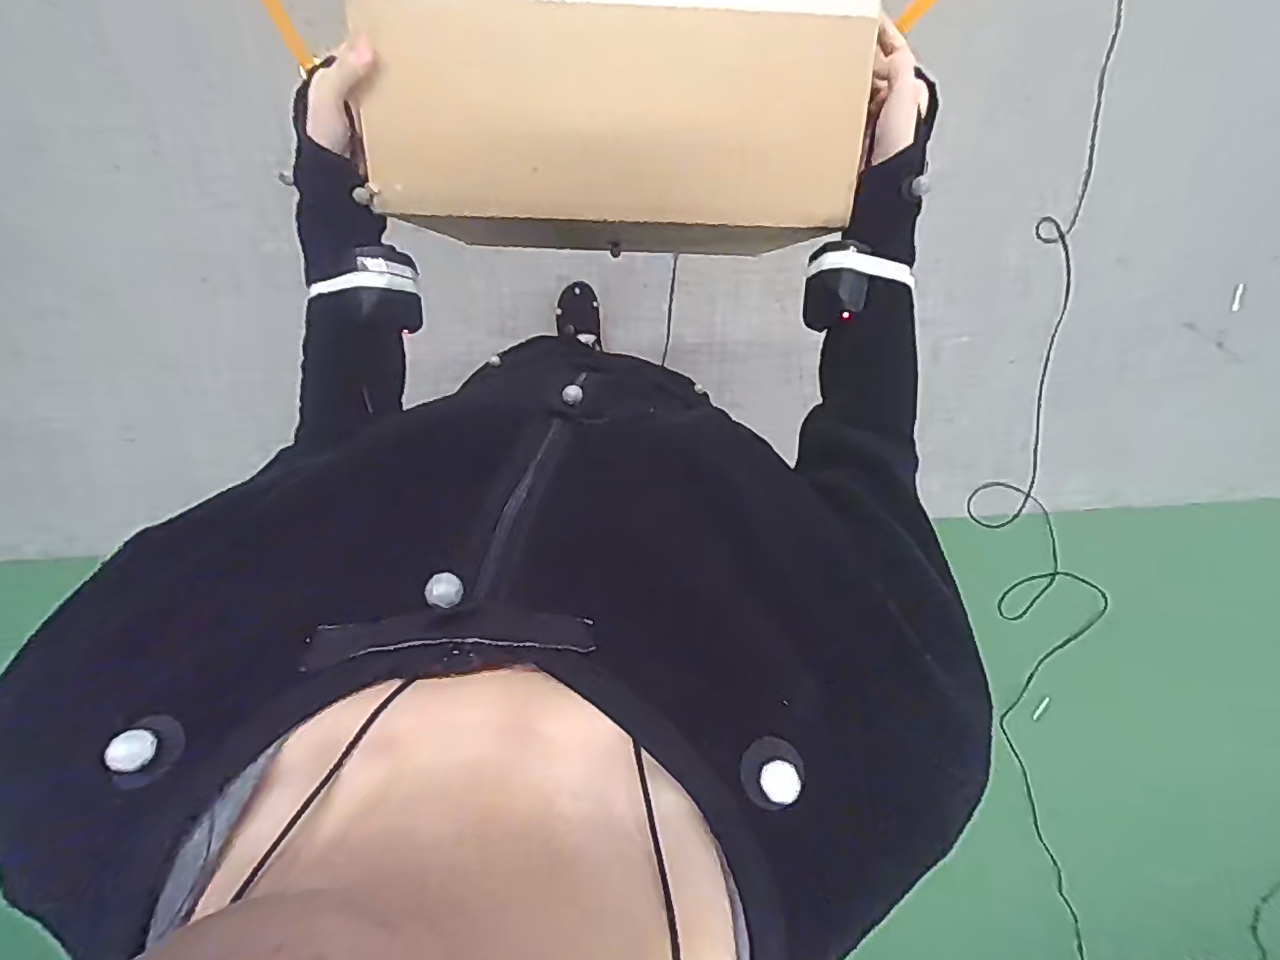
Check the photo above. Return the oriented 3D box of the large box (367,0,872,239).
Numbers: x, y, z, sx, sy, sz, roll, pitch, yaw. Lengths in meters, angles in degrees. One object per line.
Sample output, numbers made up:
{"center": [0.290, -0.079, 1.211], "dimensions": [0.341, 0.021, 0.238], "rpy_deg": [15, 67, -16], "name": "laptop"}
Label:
{"center": [-0.017, -0.428, 0.560], "dimensions": [0.408, 0.320, 0.320], "rpy_deg": [1, 109, -3], "name": "large box"}
